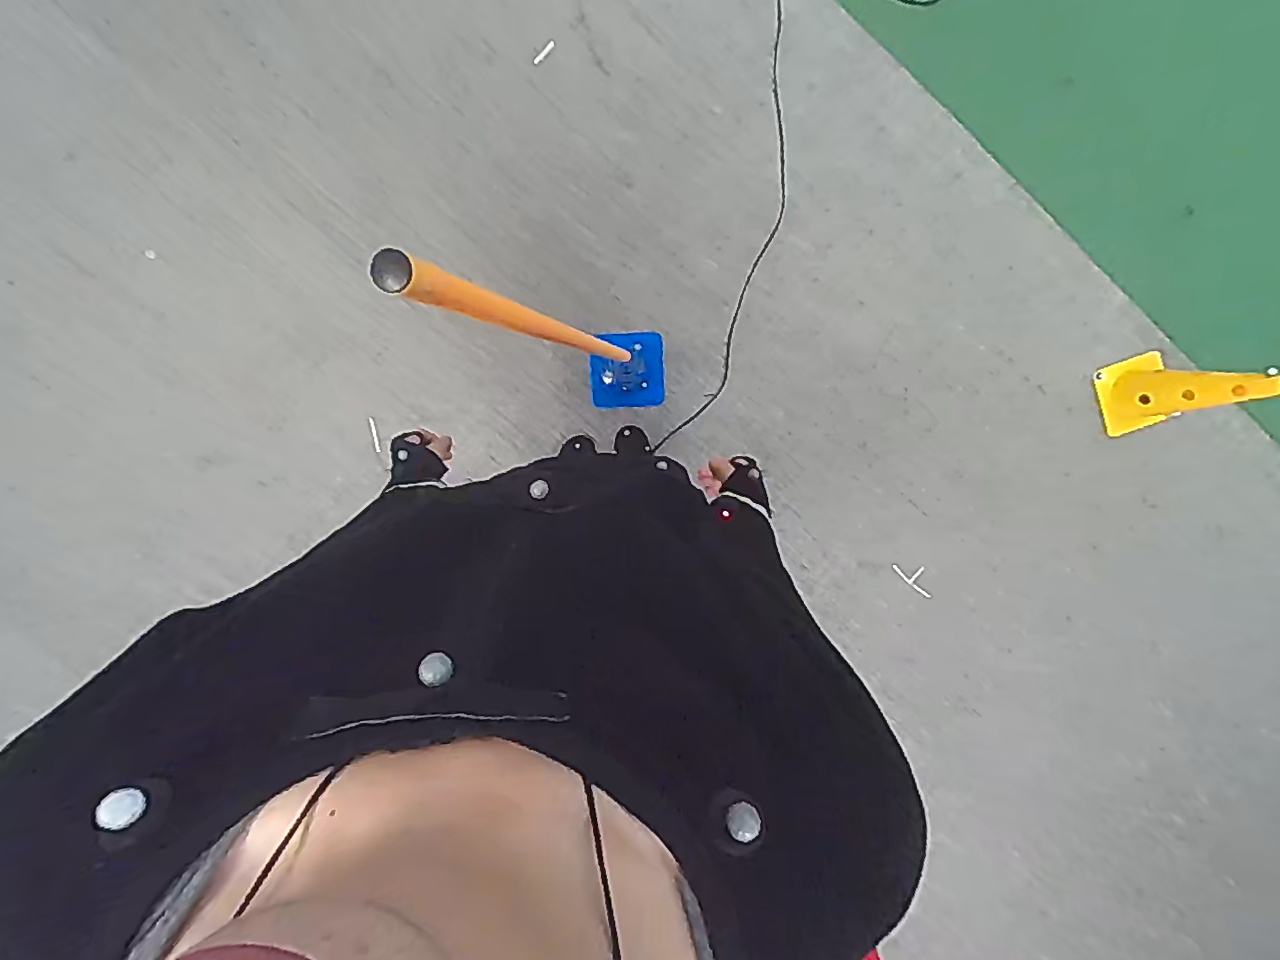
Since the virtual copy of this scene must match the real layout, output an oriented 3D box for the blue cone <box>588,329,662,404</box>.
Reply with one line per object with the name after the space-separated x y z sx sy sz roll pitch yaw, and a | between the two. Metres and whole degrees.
-0.038 -0.283 1.288 0.193 0.380 0.192 -4 97 0 | blue cone
